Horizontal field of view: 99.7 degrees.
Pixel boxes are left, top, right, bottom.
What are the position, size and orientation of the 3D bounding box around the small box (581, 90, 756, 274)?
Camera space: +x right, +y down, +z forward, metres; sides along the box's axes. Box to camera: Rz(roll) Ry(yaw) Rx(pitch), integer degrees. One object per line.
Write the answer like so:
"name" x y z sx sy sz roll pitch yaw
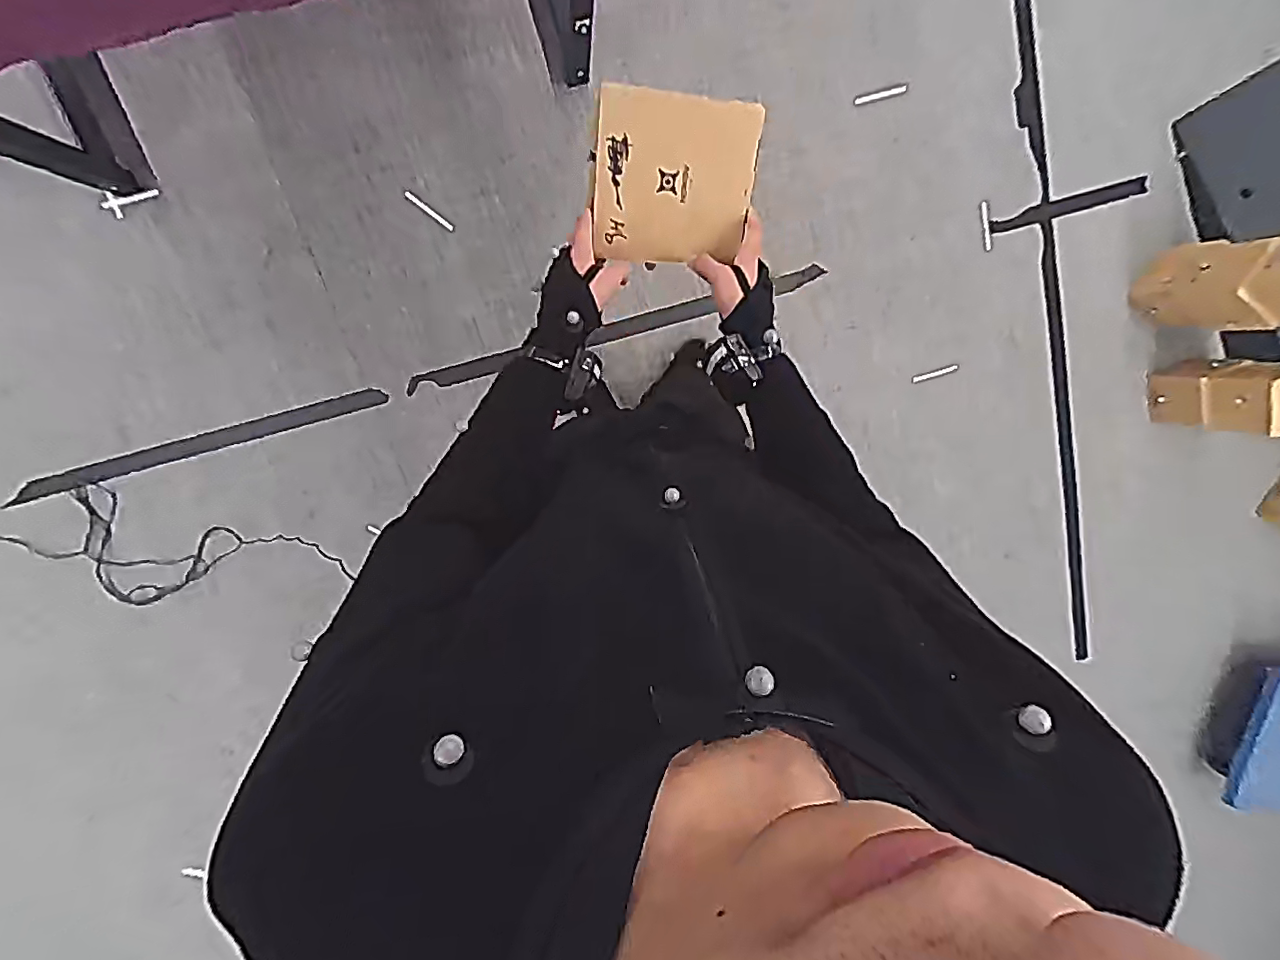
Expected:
"small box" 0.021 -0.360 0.671 0.179 0.176 0.168 2 116 -9
